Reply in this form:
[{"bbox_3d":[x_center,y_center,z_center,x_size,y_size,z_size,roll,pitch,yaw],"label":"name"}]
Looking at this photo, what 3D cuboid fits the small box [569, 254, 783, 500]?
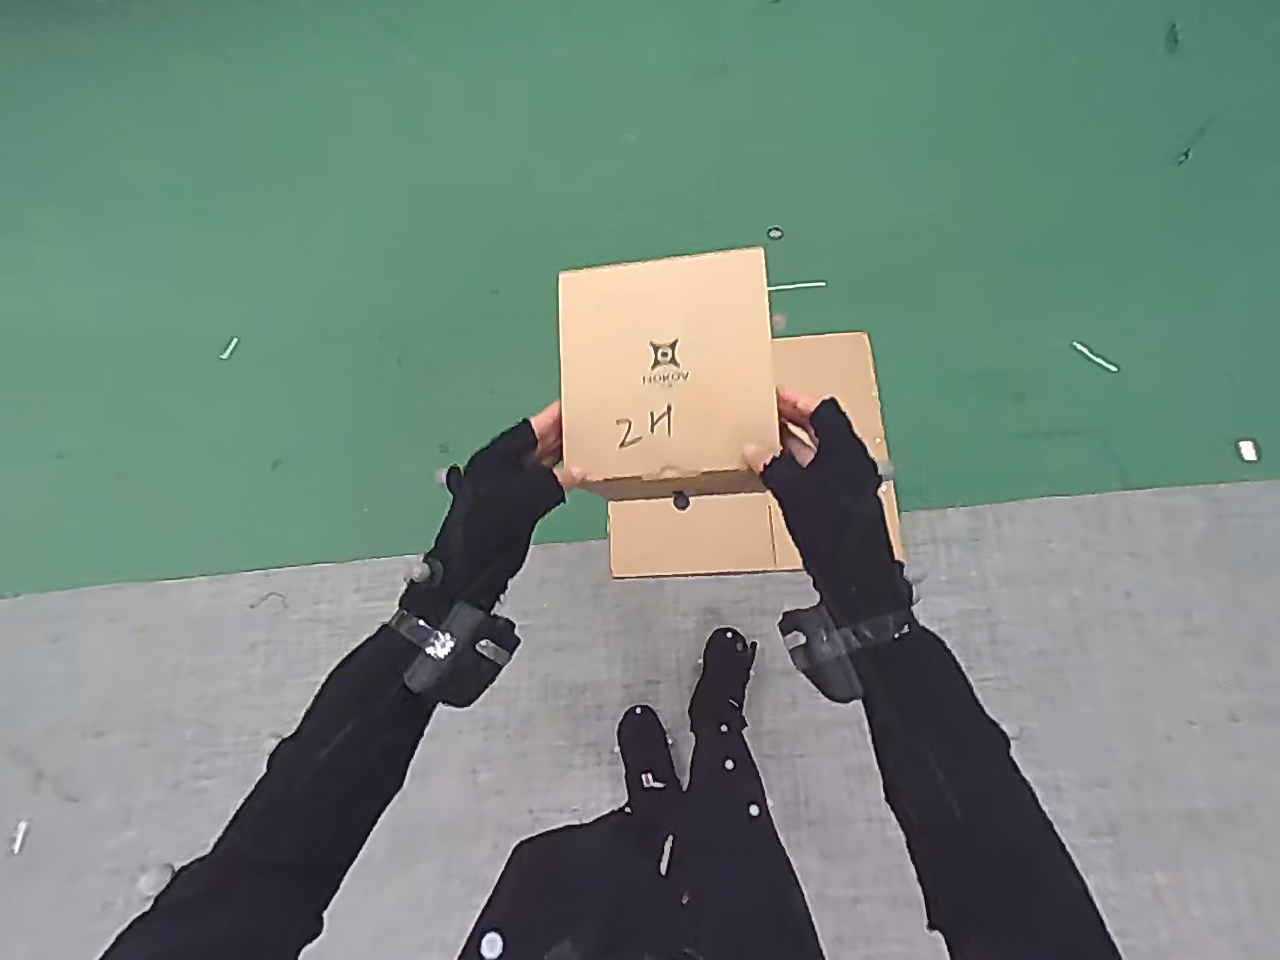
[{"bbox_3d":[0.036,-0.078,0.501,0.168,0.176,0.179,-4,83,9],"label":"small box"}]
